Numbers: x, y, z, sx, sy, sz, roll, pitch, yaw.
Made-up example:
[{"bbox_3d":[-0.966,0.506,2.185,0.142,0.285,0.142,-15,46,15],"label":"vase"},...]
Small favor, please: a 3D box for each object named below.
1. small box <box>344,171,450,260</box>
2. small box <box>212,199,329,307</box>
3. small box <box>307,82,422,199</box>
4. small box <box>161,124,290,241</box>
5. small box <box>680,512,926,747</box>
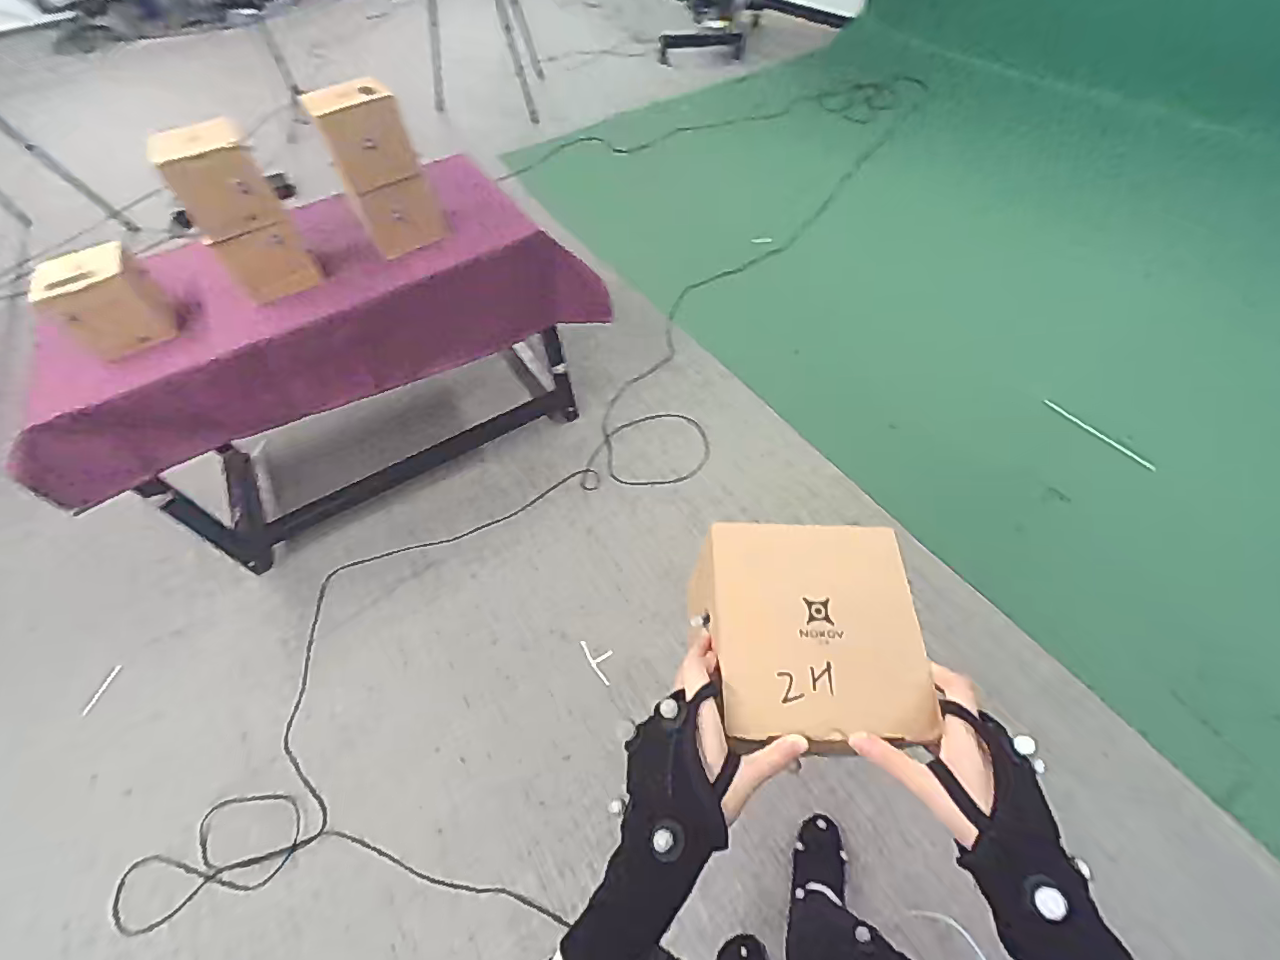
[{"bbox_3d":[-0.628,-0.705,1.412,0.179,0.176,0.168,-31,57,-16],"label":"small box"},{"bbox_3d":[-0.910,-0.558,1.335,0.179,0.176,0.168,-27,55,-15],"label":"small box"},{"bbox_3d":[-0.641,-0.801,1.278,0.179,0.176,0.168,-30,56,-15],"label":"small box"},{"bbox_3d":[-0.917,-0.658,1.207,0.168,0.176,0.179,-28,55,-16],"label":"small box"},{"bbox_3d":[0.130,0.147,0.513,0.168,0.176,0.179,1,59,-2],"label":"small box"}]
